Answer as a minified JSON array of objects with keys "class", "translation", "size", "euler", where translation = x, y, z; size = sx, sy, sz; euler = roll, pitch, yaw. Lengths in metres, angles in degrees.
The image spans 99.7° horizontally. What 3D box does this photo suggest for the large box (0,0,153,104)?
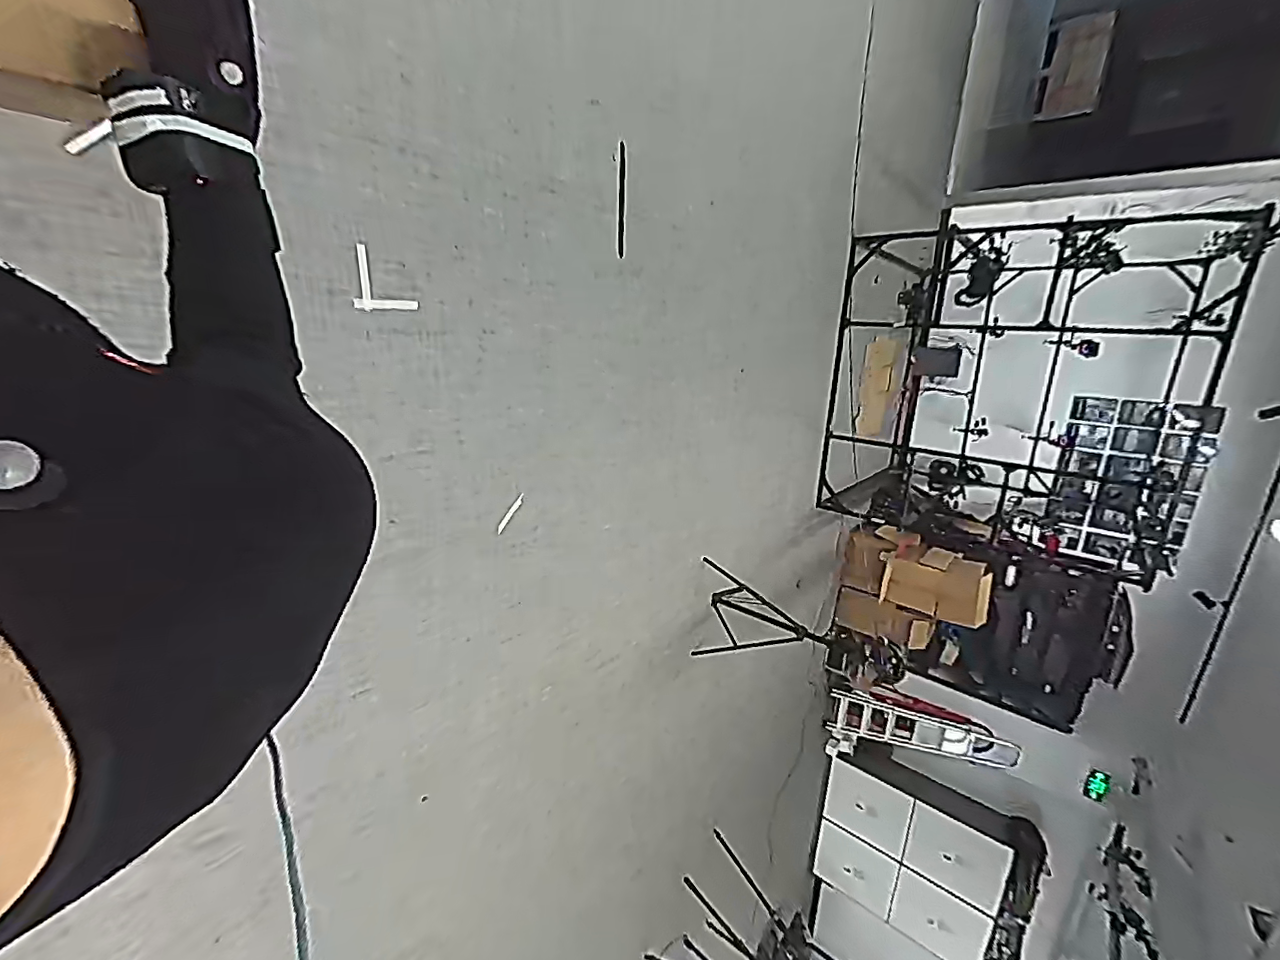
[{"class":"large box","translation":[-0.578,-0.440,0.277],"size":[0.408,0.320,0.320],"euler":[-18,123,-49]}]
